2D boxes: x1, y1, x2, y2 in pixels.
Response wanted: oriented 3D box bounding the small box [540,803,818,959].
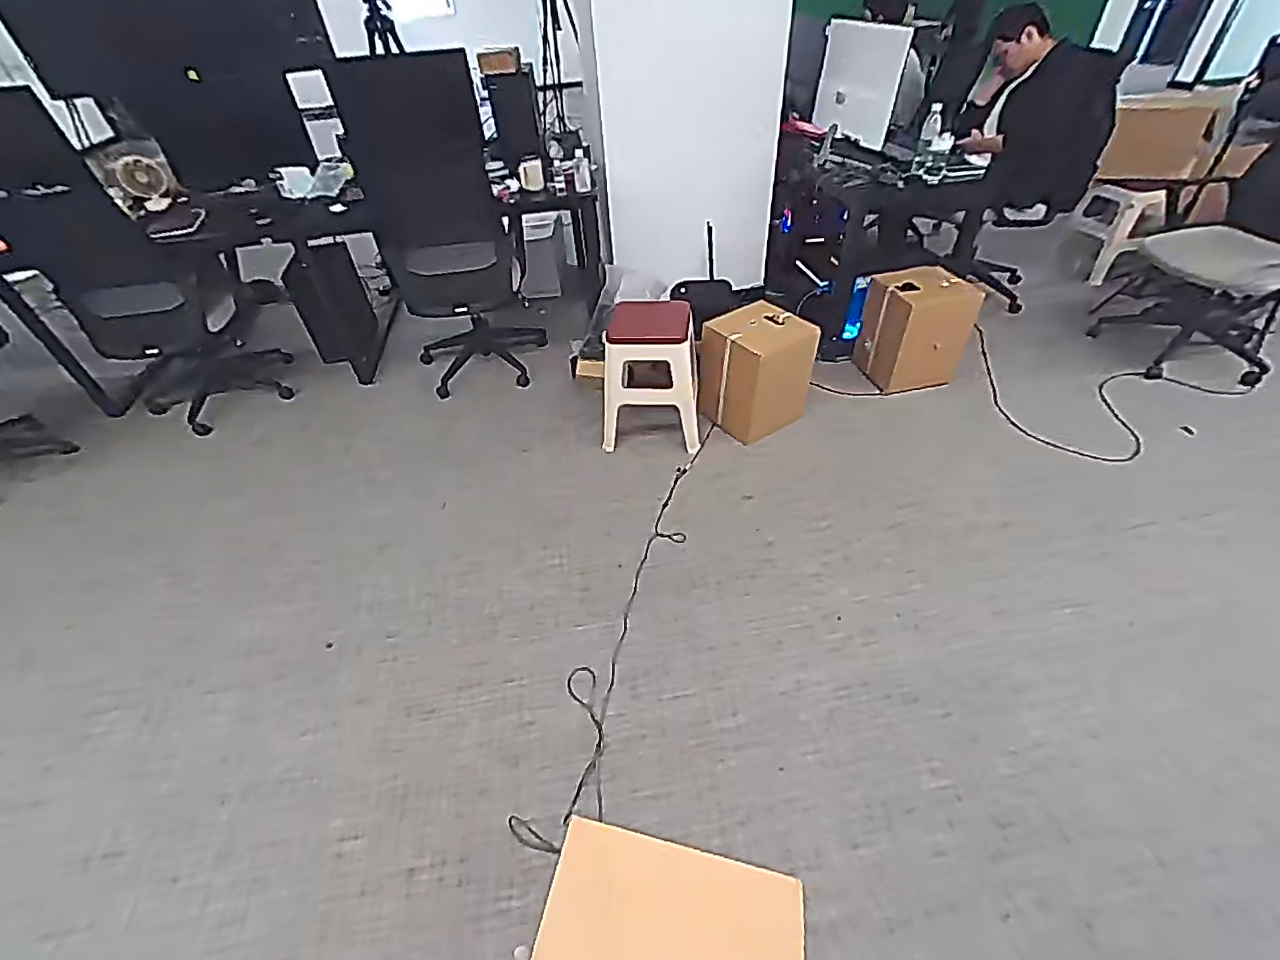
[{"bbox_3d":[0.014,0.360,0.359,0.168,0.176,0.179,11,40,8],"label":"small box"}]
